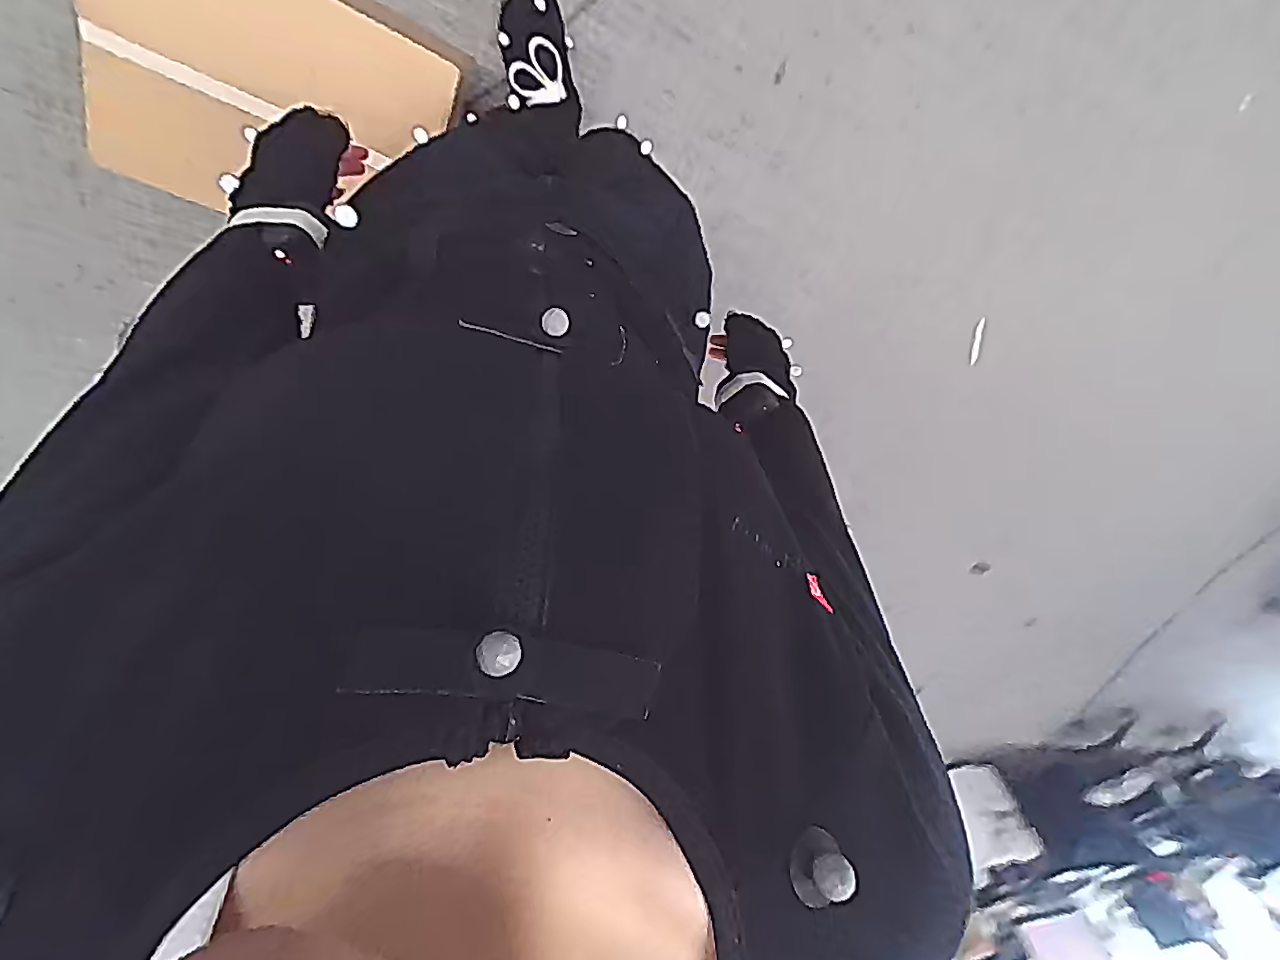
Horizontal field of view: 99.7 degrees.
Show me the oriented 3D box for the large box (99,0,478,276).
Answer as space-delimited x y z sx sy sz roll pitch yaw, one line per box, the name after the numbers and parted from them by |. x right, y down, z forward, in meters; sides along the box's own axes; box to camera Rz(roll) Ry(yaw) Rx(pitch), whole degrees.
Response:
-0.499 -0.583 0.839 0.408 0.320 0.320 16 125 -24 | large box
